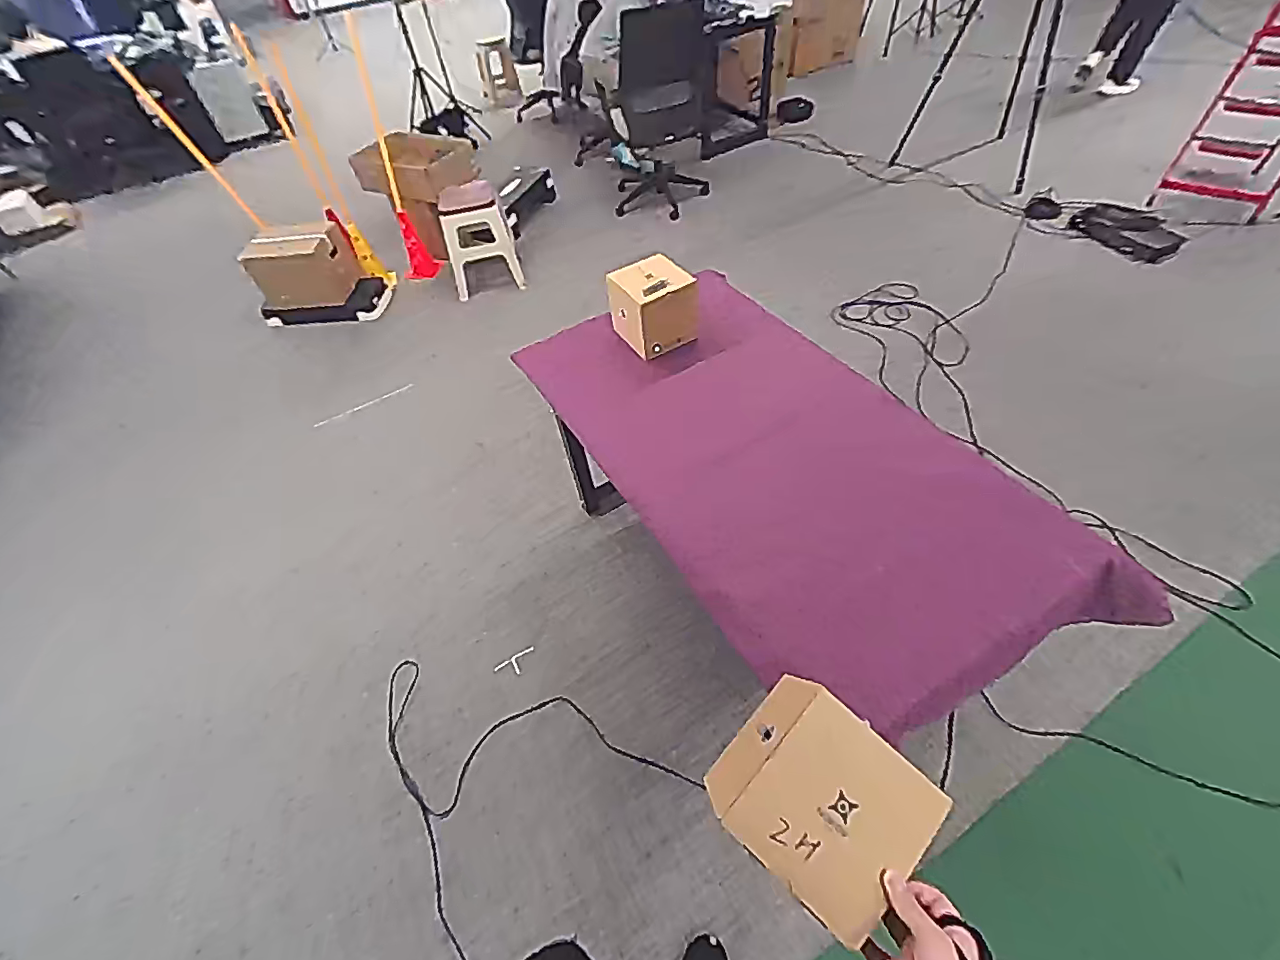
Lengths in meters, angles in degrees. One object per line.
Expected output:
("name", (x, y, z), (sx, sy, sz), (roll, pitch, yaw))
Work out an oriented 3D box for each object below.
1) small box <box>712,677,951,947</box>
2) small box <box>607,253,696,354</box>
("small box", (0.197, 0.347, 0.615), (0.168, 0.176, 0.179), (41, 79, 12))
("small box", (0.035, -0.447, 1.392), (0.168, 0.176, 0.179), (-27, 52, -15))
